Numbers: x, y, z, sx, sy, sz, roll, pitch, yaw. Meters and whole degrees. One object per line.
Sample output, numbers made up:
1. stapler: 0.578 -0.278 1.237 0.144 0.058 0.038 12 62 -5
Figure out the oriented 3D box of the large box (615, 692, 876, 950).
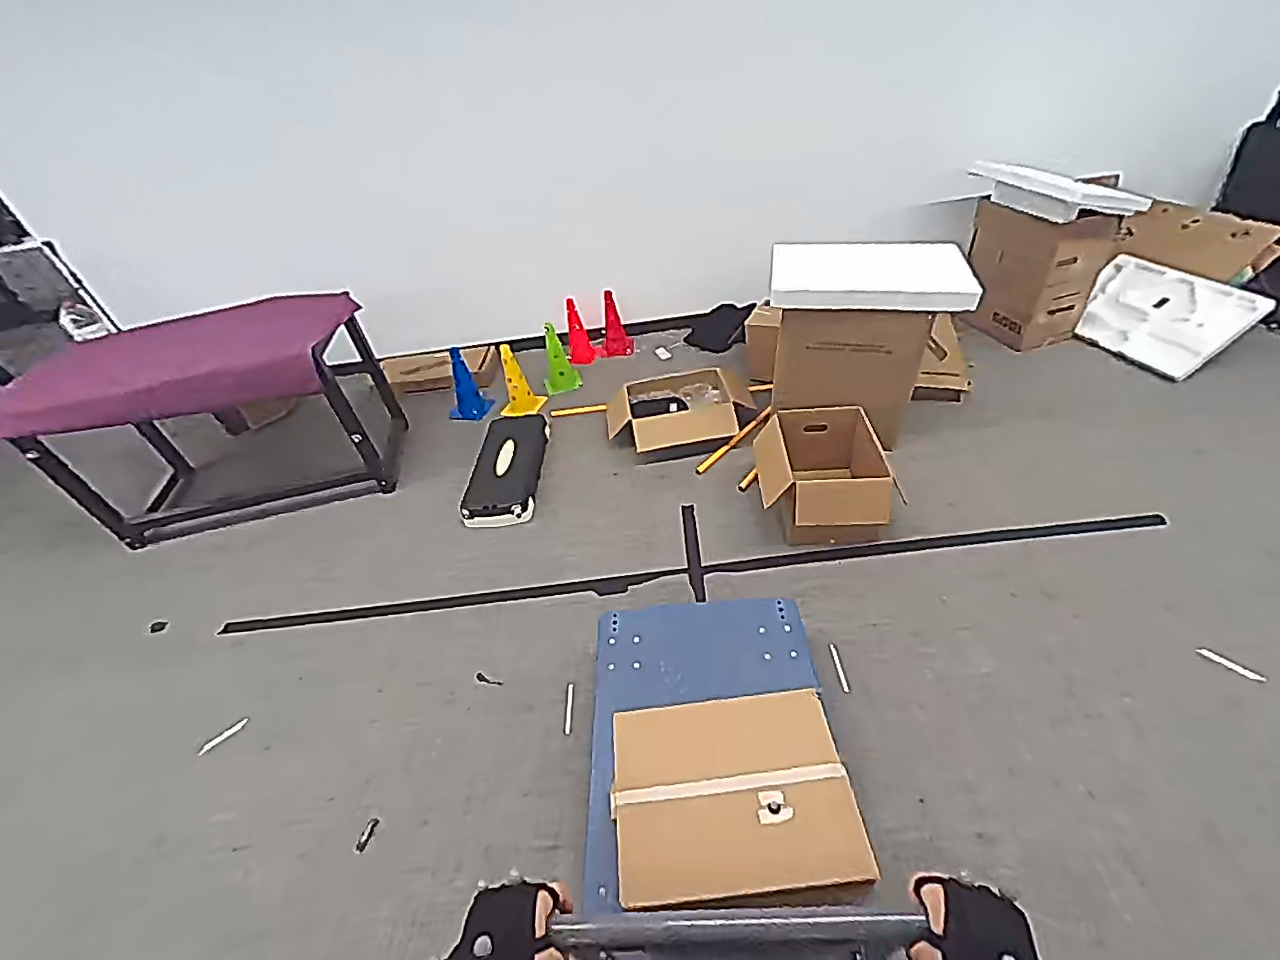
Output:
1. large box: 0.173 0.656 1.045 0.408 0.320 0.320 -7 41 0
